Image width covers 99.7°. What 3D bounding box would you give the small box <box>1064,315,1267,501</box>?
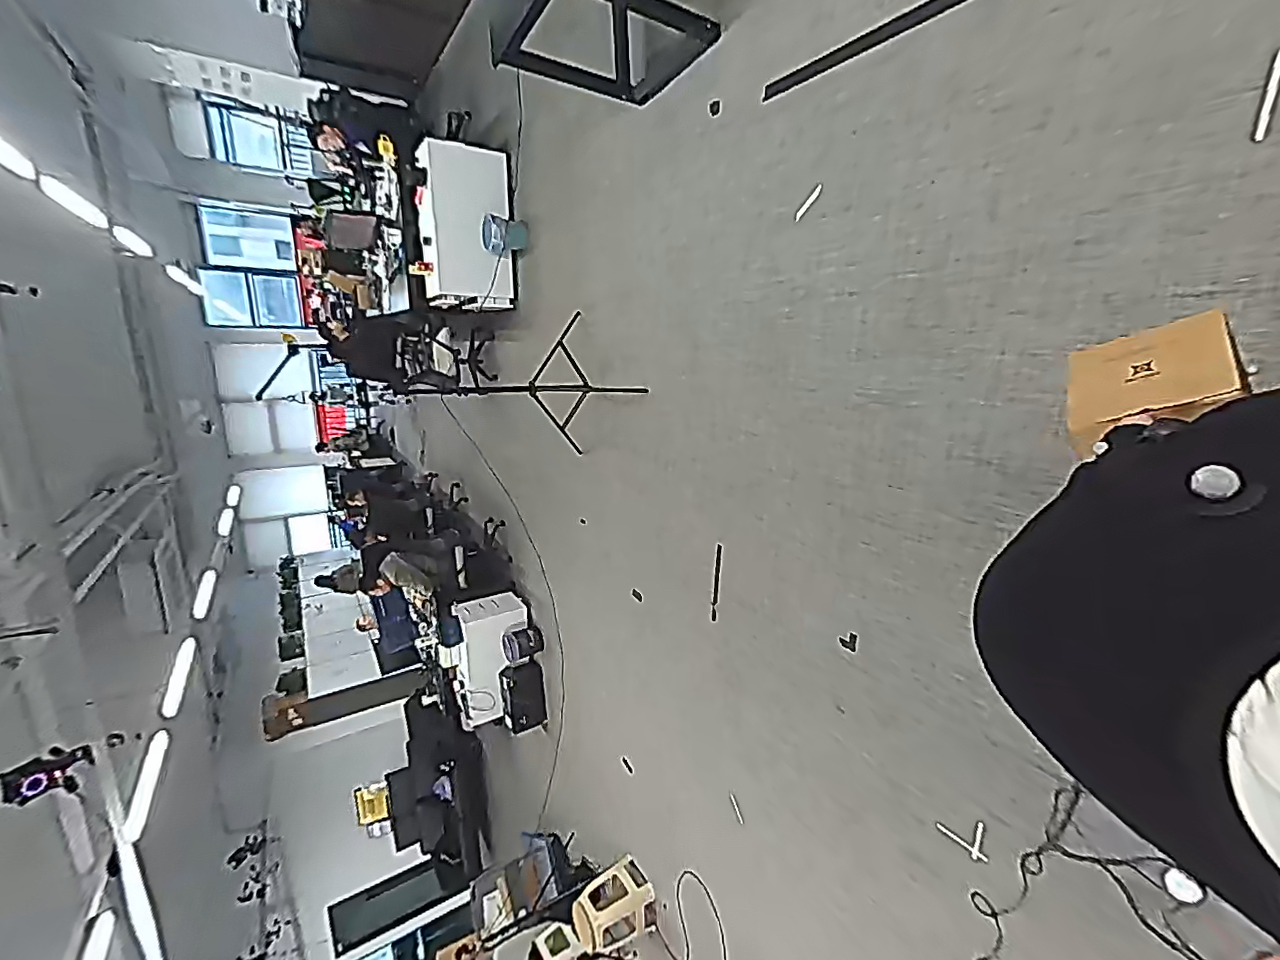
[{"bbox_3d":[0.721,-0.086,0.750,0.176,0.179,0.168,48,144,-20],"label":"small box"}]
